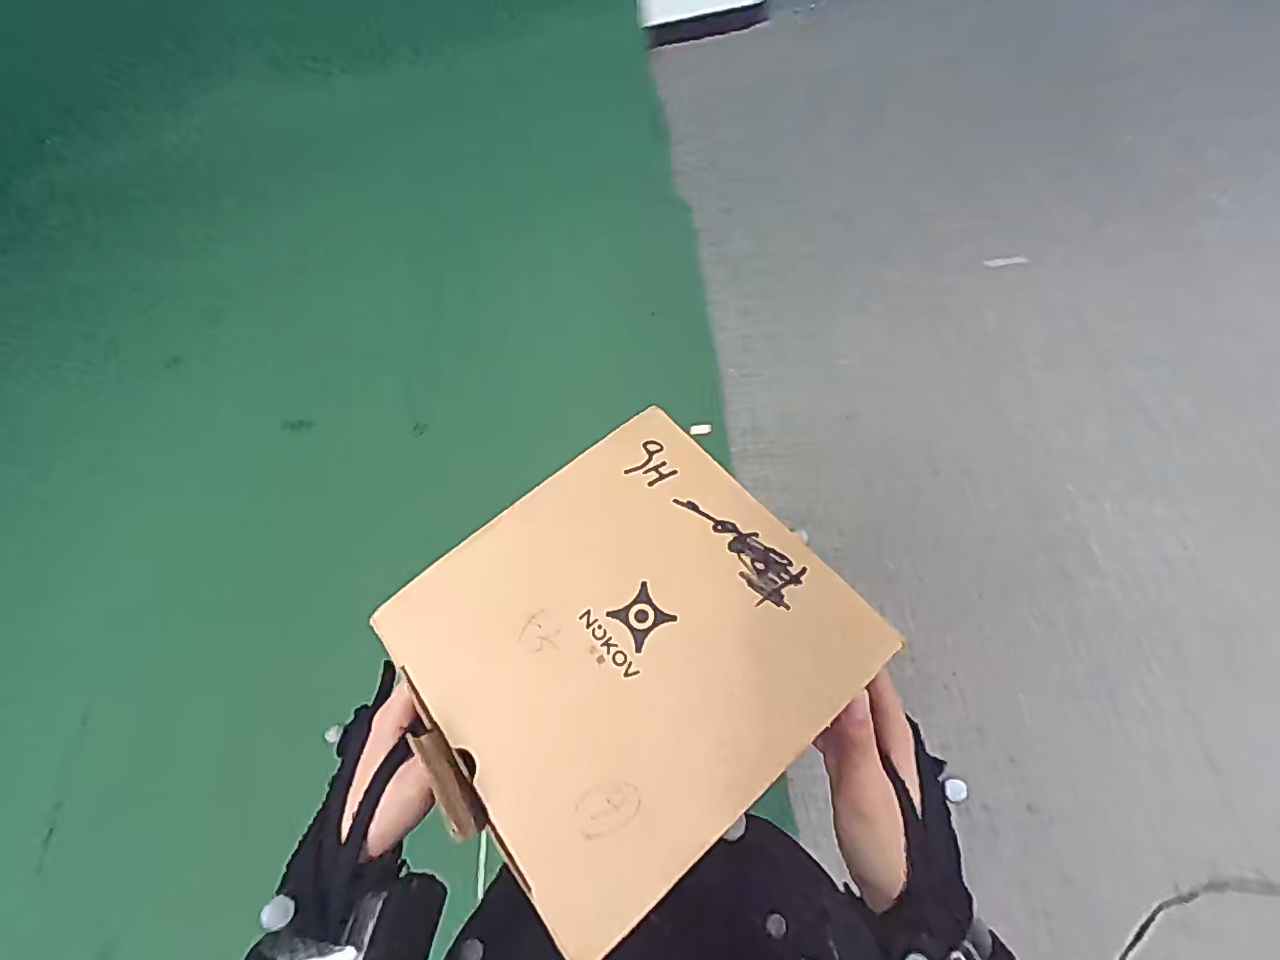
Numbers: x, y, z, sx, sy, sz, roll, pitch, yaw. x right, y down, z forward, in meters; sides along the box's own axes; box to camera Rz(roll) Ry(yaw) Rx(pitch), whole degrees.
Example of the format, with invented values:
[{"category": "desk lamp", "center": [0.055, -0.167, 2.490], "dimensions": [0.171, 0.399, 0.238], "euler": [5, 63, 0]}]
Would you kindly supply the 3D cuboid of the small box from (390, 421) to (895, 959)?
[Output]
[{"category": "small box", "center": [0.003, 0.107, 0.315], "dimensions": [0.179, 0.176, 0.168], "euler": [-38, 67, -12]}]
